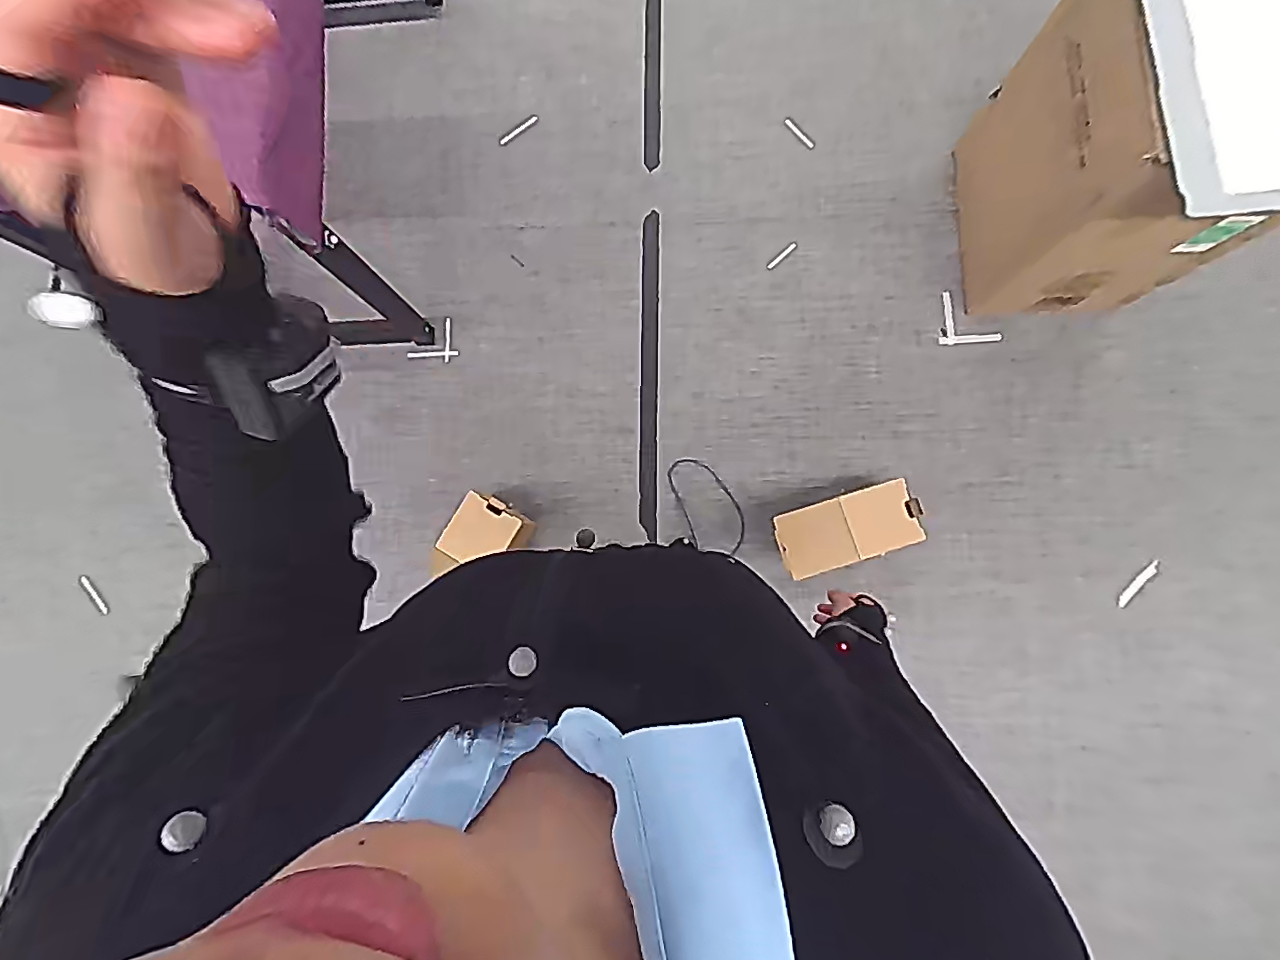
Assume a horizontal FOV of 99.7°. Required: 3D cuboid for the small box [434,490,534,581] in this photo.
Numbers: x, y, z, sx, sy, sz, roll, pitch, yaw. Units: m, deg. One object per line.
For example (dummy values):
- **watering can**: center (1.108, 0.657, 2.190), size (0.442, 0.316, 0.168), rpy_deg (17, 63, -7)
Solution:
- **small box**: center (-0.405, 0.150, 1.443), size (0.168, 0.176, 0.179), rpy_deg (31, 84, 5)
